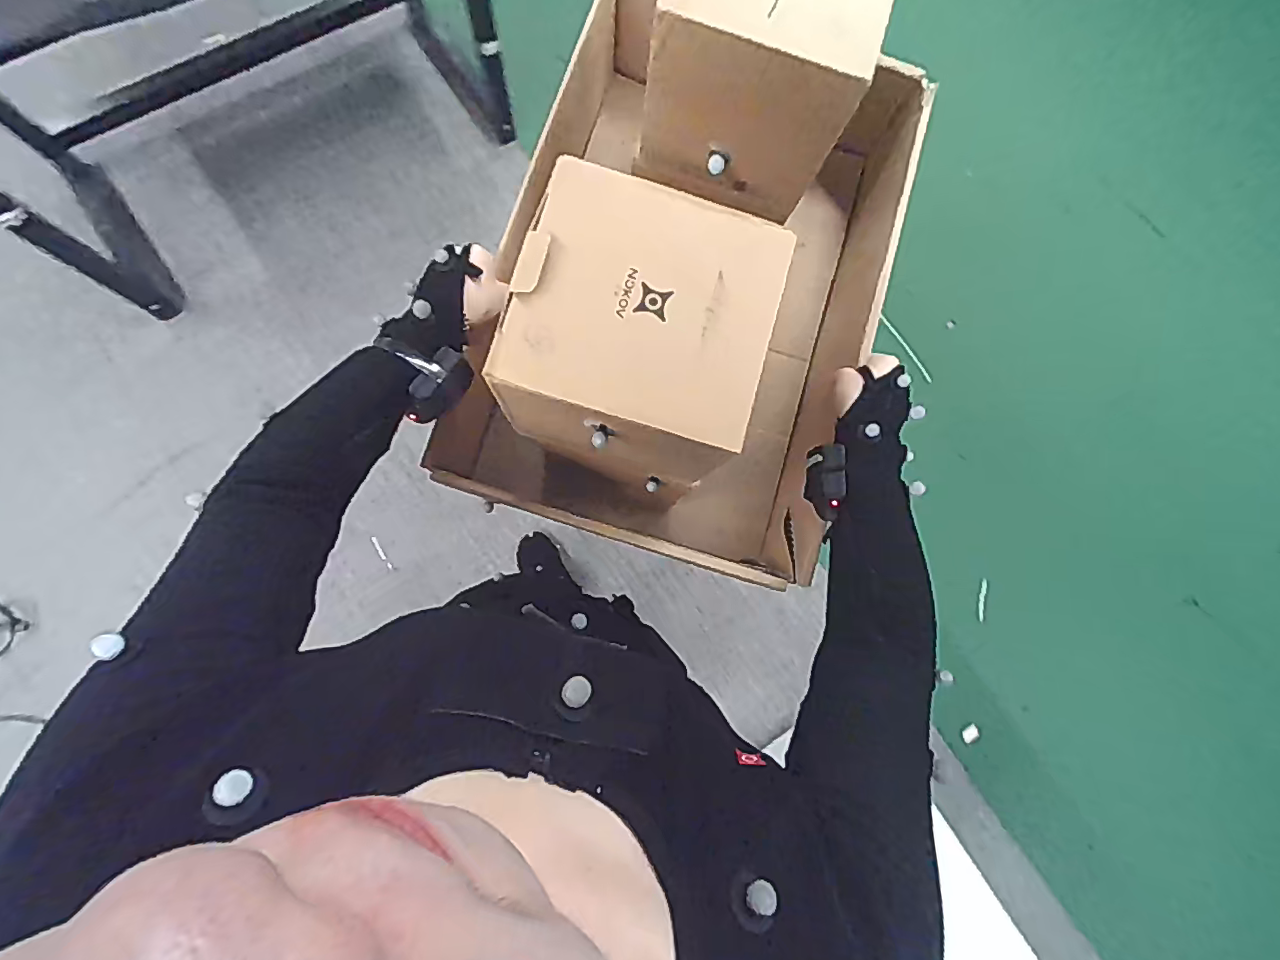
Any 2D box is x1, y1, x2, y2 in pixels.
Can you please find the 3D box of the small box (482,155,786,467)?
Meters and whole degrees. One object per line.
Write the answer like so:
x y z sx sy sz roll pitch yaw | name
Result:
-0.008 -0.115 0.445 0.179 0.176 0.168 16 83 -4 | small box
